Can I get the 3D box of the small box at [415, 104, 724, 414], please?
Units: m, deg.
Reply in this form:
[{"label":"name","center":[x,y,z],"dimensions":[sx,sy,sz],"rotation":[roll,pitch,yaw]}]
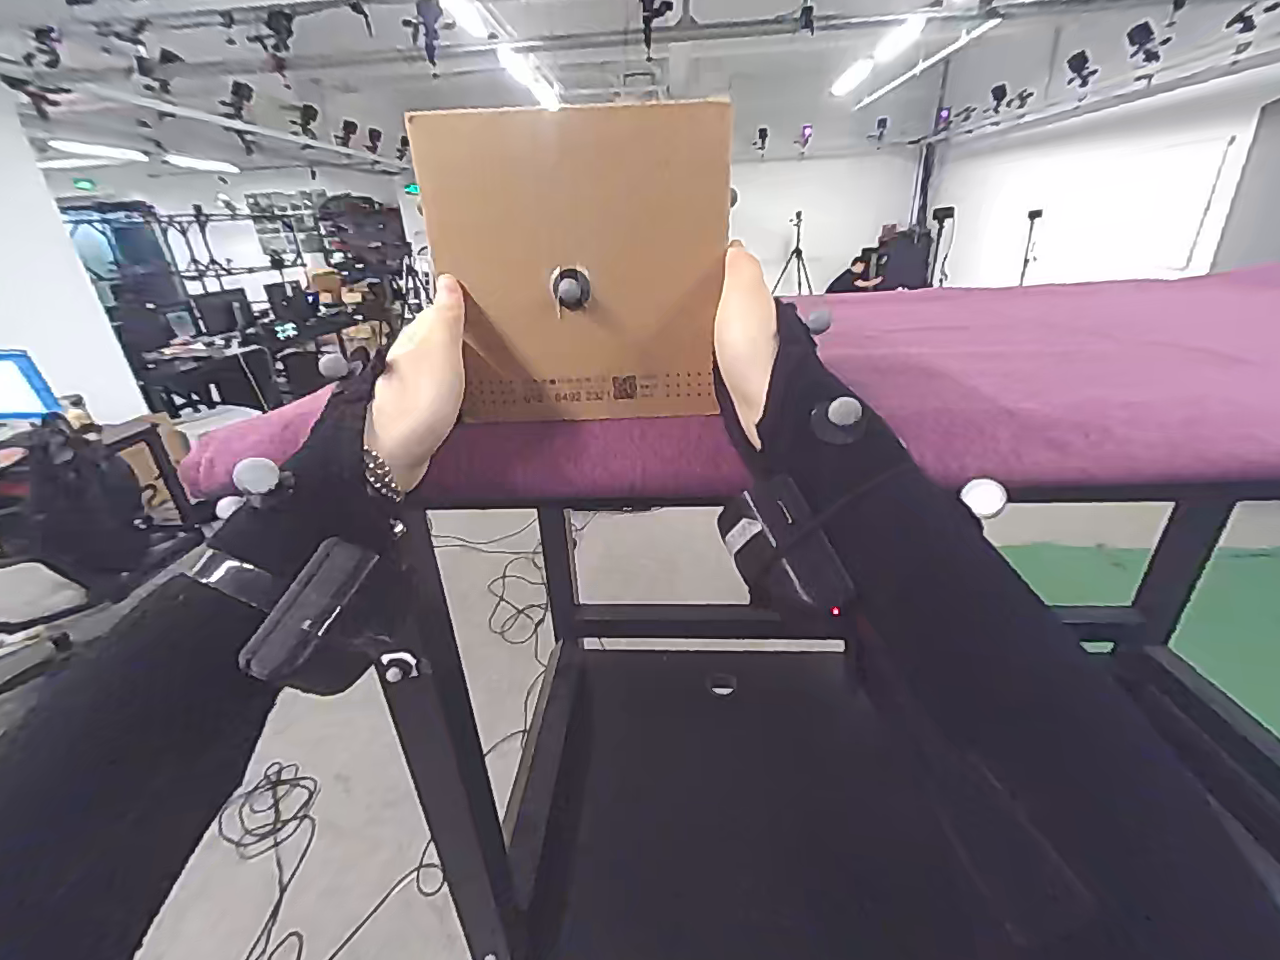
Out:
[{"label":"small box","center":[-0.033,-0.149,0.386],"dimensions":[0.168,0.176,0.179],"rotation":[-1,25,1]}]
